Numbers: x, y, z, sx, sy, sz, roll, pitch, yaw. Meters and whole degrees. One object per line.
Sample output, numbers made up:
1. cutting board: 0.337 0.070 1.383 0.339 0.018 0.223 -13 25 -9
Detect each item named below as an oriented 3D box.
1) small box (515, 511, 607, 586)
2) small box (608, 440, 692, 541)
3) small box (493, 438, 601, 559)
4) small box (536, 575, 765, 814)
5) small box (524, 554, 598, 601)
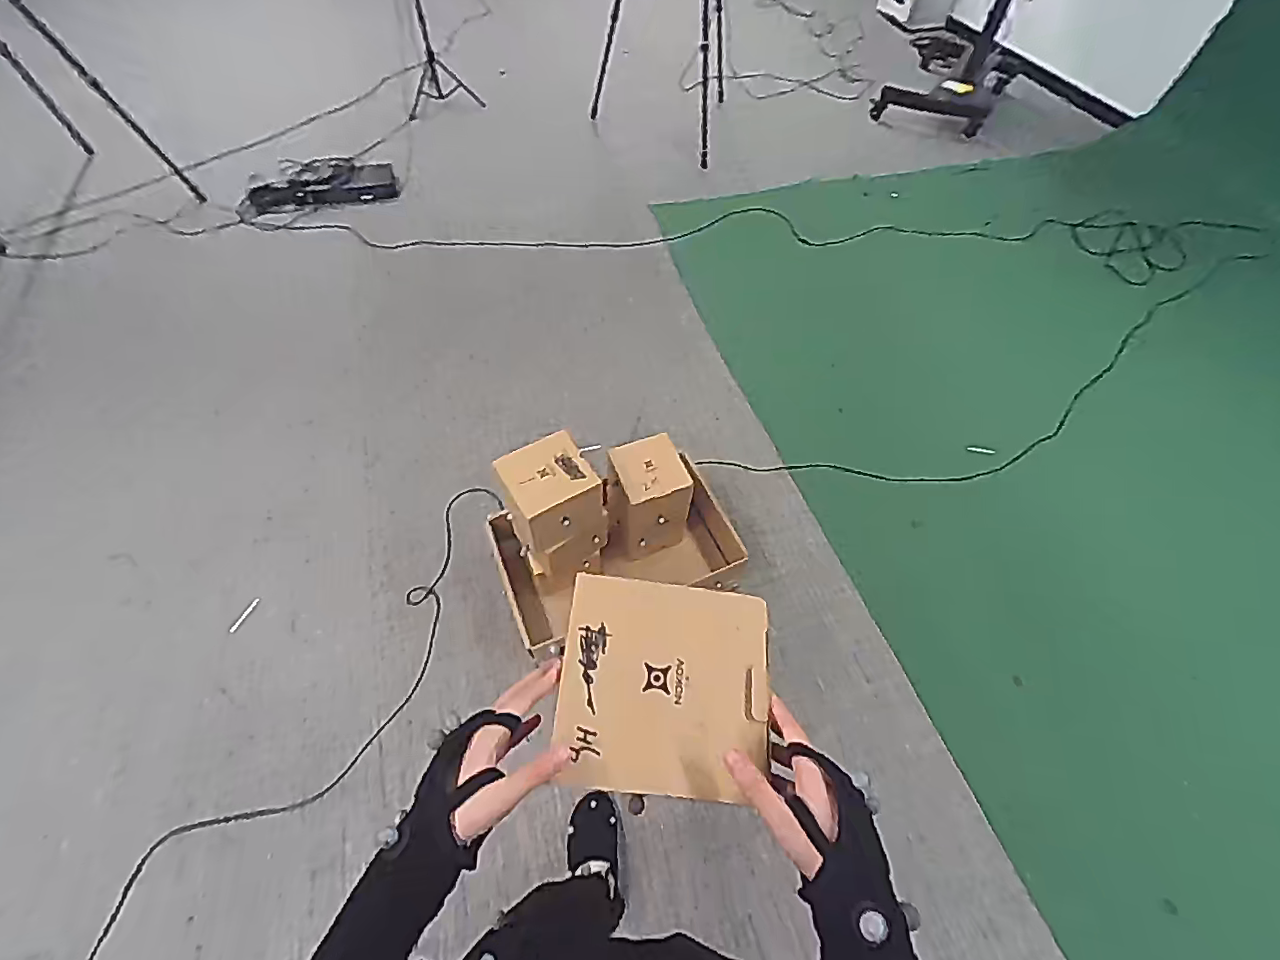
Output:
1. small box: -0.200 0.128 1.335 0.179 0.176 0.168 -34 65 -23
2. small box: 0.019 0.029 1.405 0.168 0.176 0.179 -18 59 -13
3. small box: -0.200 0.044 1.194 0.179 0.176 0.168 -27 62 -19
4. small box: 0.007 0.206 0.514 0.179 0.176 0.168 10 61 -3
5. small box: -0.221 0.208 1.476 0.179 0.176 0.168 -18 60 -15
